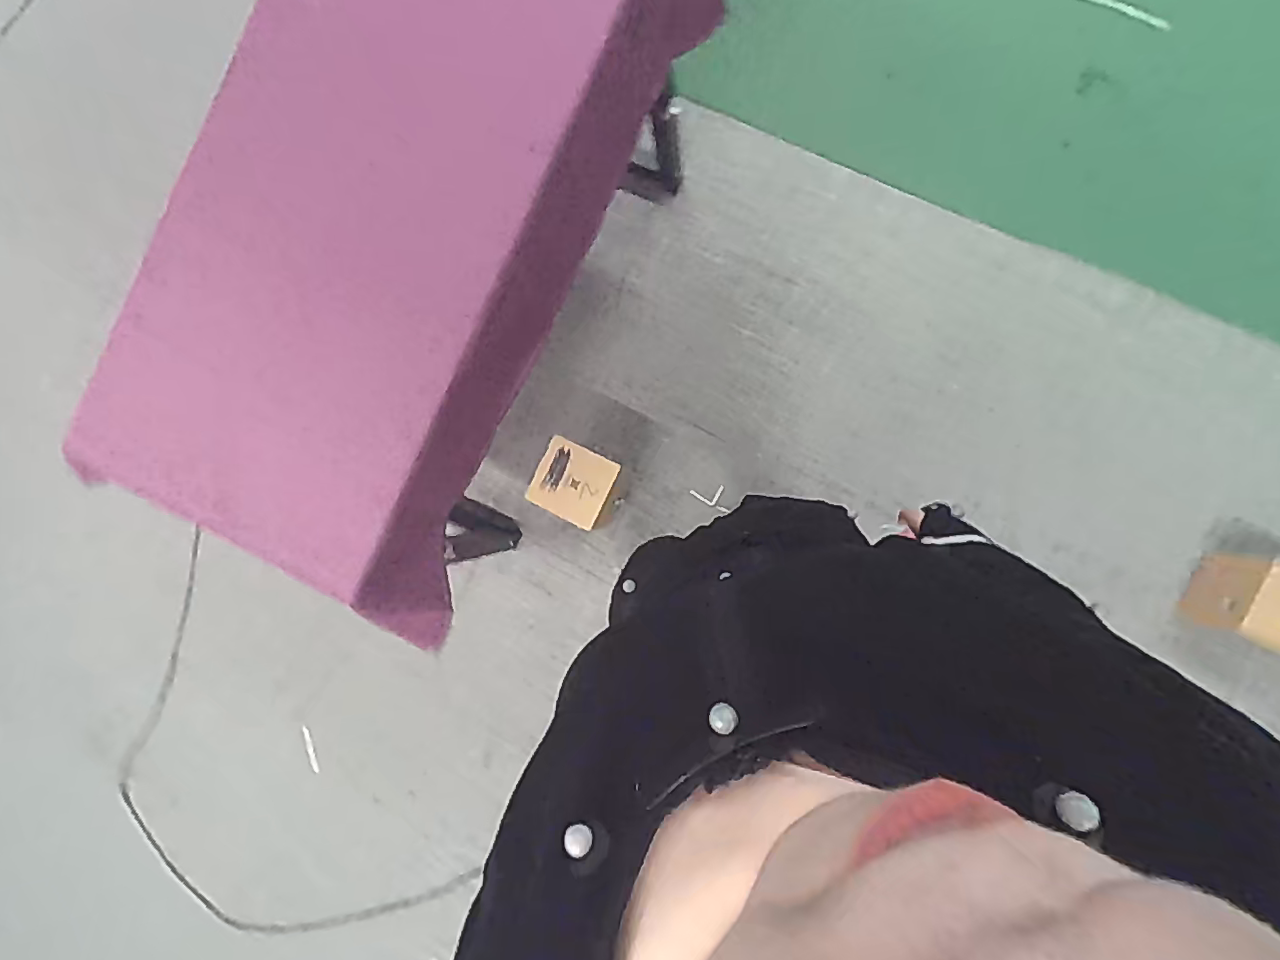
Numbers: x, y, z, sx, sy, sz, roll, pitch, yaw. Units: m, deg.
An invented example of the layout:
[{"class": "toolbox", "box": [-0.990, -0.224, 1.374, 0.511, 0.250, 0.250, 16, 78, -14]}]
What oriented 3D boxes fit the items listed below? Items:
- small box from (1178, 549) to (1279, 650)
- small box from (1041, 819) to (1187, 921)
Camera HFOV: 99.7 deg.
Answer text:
[{"class": "small box", "box": [1.410, 0.275, 1.240, 0.168, 0.176, 0.179, 26, 92, 7]}, {"class": "small box", "box": [1.086, 0.942, 1.258, 0.168, 0.176, 0.179, 24, 92, 9]}]
